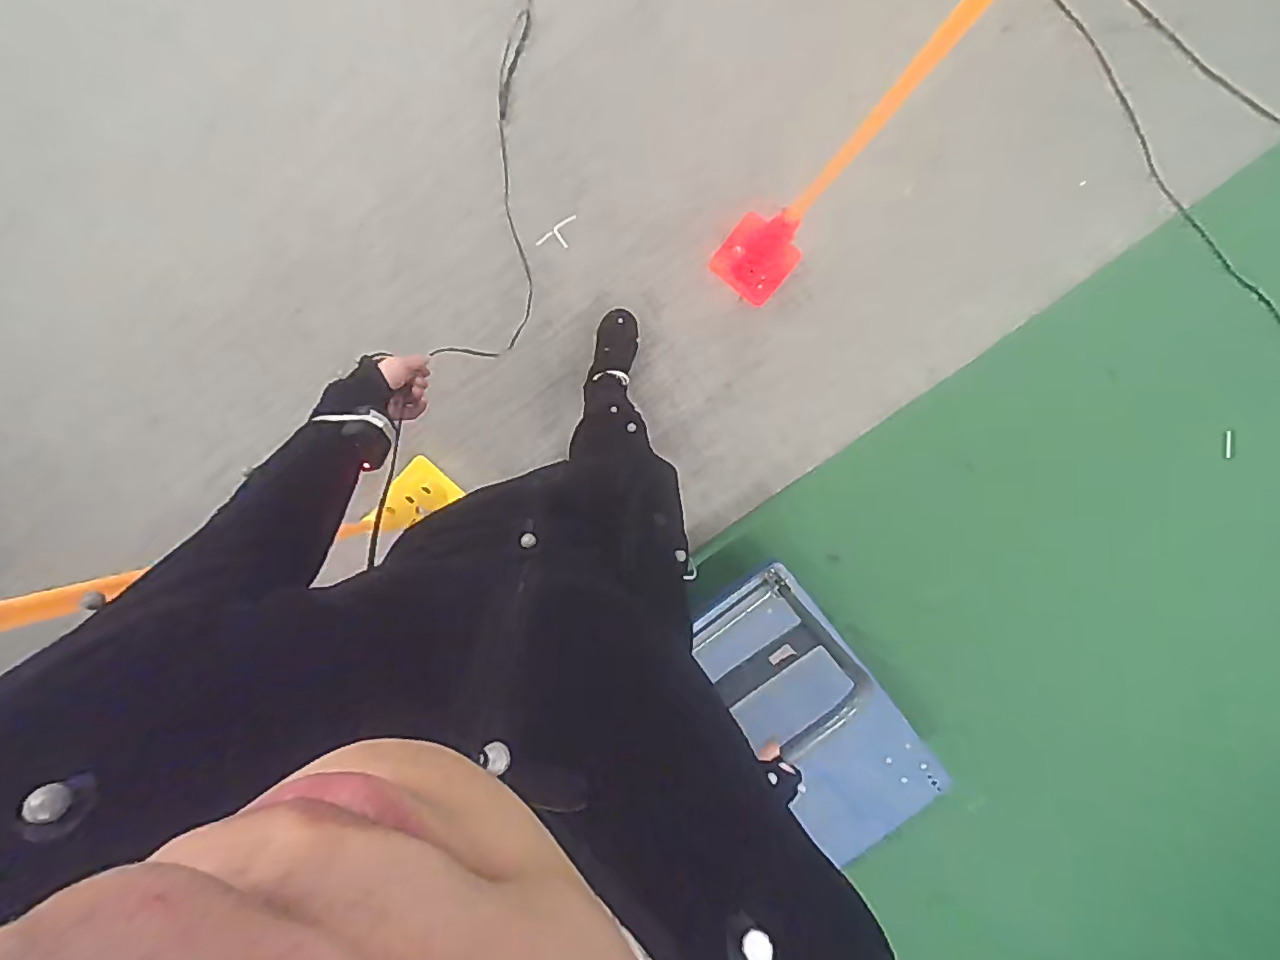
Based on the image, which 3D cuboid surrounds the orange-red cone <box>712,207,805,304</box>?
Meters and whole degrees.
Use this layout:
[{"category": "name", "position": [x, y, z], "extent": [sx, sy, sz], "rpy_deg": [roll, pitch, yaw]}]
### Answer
[{"category": "orange-red cone", "position": [0.336, -0.606, 1.358], "extent": [0.198, 0.360, 0.199], "rpy_deg": [40, 94, -7]}]
